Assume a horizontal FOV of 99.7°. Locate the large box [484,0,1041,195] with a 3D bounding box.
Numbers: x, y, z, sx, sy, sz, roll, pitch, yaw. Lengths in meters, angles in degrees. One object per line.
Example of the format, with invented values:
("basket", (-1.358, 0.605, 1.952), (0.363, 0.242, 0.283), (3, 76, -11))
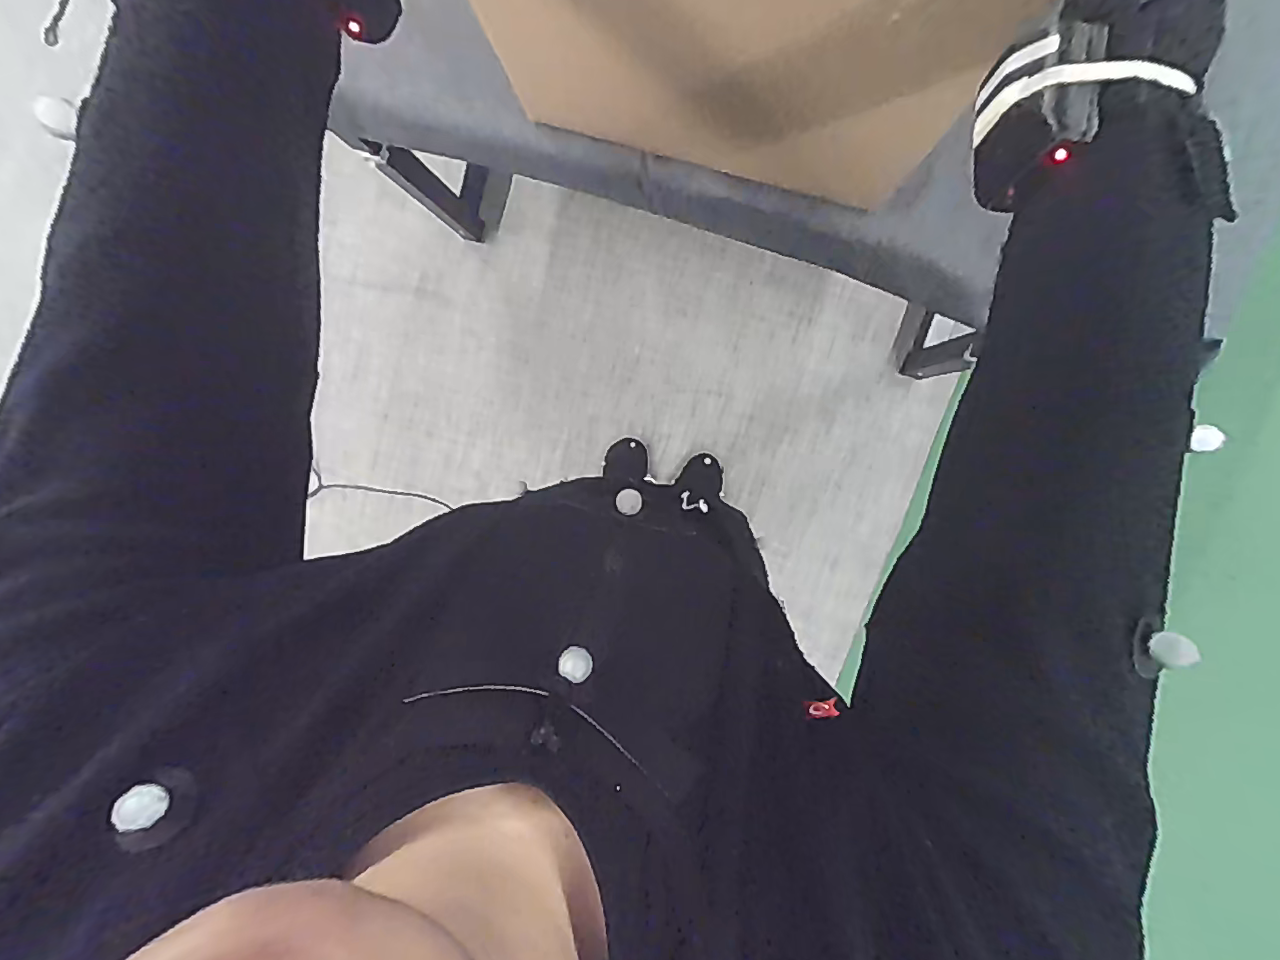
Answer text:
("large box", (0.096, -0.489, 0.431), (0.408, 0.320, 0.320), (16, 96, 2))
